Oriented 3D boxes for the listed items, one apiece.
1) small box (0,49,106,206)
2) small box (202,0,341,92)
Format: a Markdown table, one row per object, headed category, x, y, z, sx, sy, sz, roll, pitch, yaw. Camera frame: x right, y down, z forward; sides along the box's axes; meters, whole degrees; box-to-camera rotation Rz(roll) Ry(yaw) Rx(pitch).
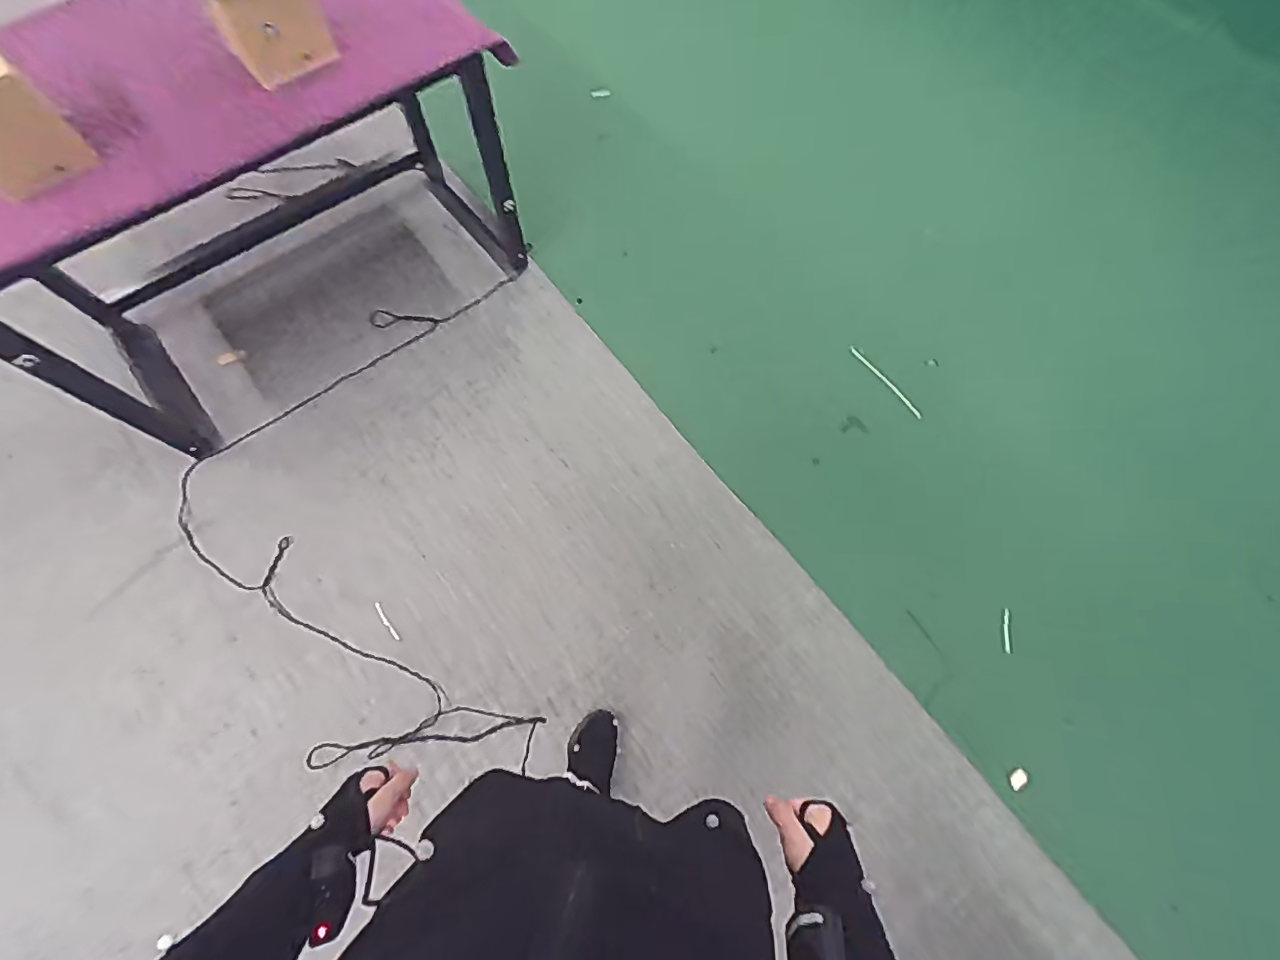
| category | x | y | z | sx | sy | sz | roll | pitch | yaw |
| --- | --- | --- | --- | --- | --- | --- | --- | --- | --- |
| small box | -1.128 | -0.631 | 0.957 | 0.168 | 0.176 | 0.179 | -42 | 76 | -15 |
| small box | -0.740 | -0.919 | 1.077 | 0.168 | 0.176 | 0.179 | -39 | 74 | -14 |
